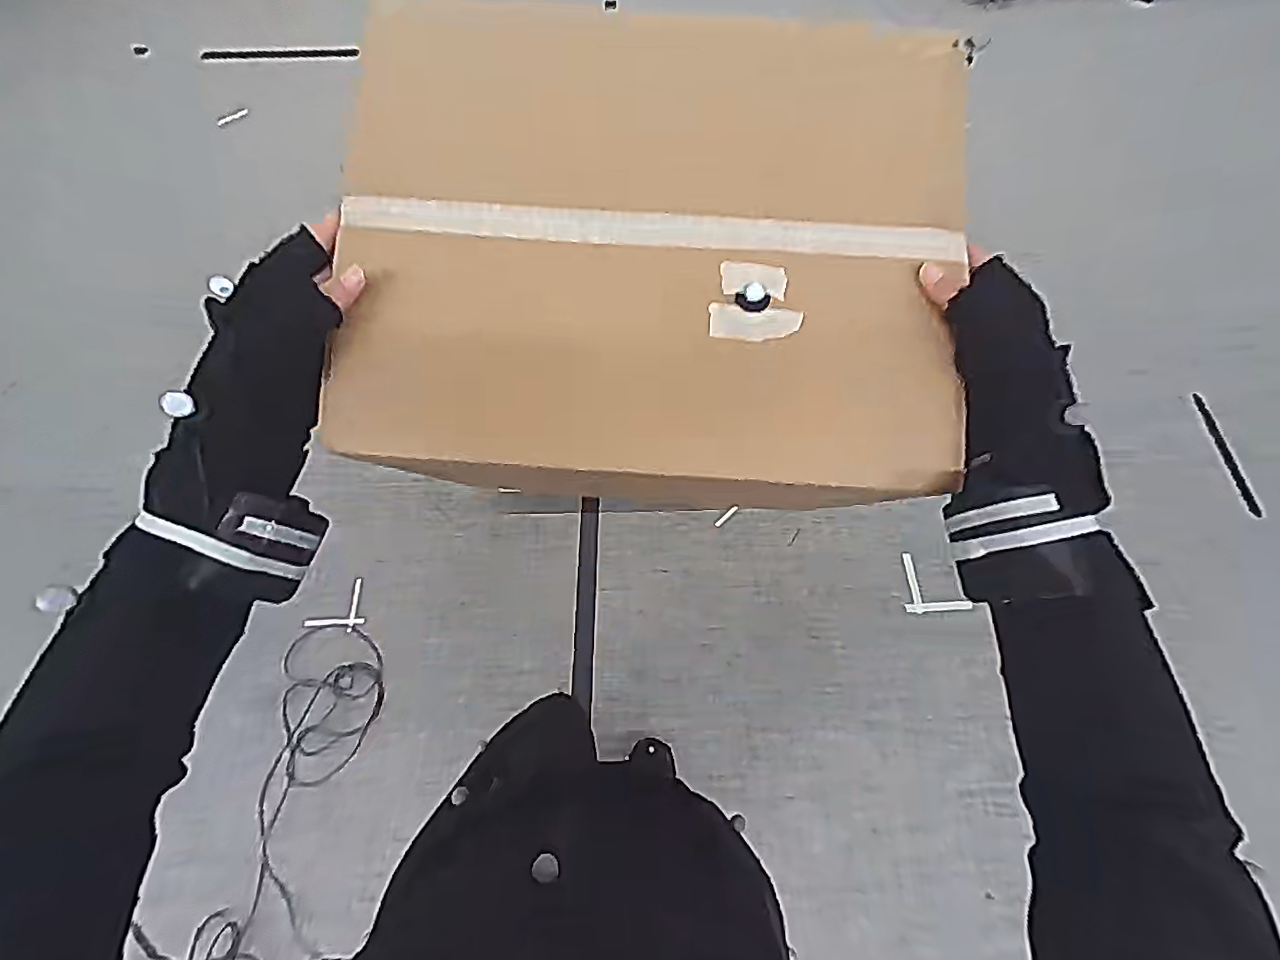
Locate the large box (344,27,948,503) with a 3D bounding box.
[{"bbox_3d":[0.008,-0.147,0.517,0.408,0.320,0.320,4,85,0],"label":"large box"}]
